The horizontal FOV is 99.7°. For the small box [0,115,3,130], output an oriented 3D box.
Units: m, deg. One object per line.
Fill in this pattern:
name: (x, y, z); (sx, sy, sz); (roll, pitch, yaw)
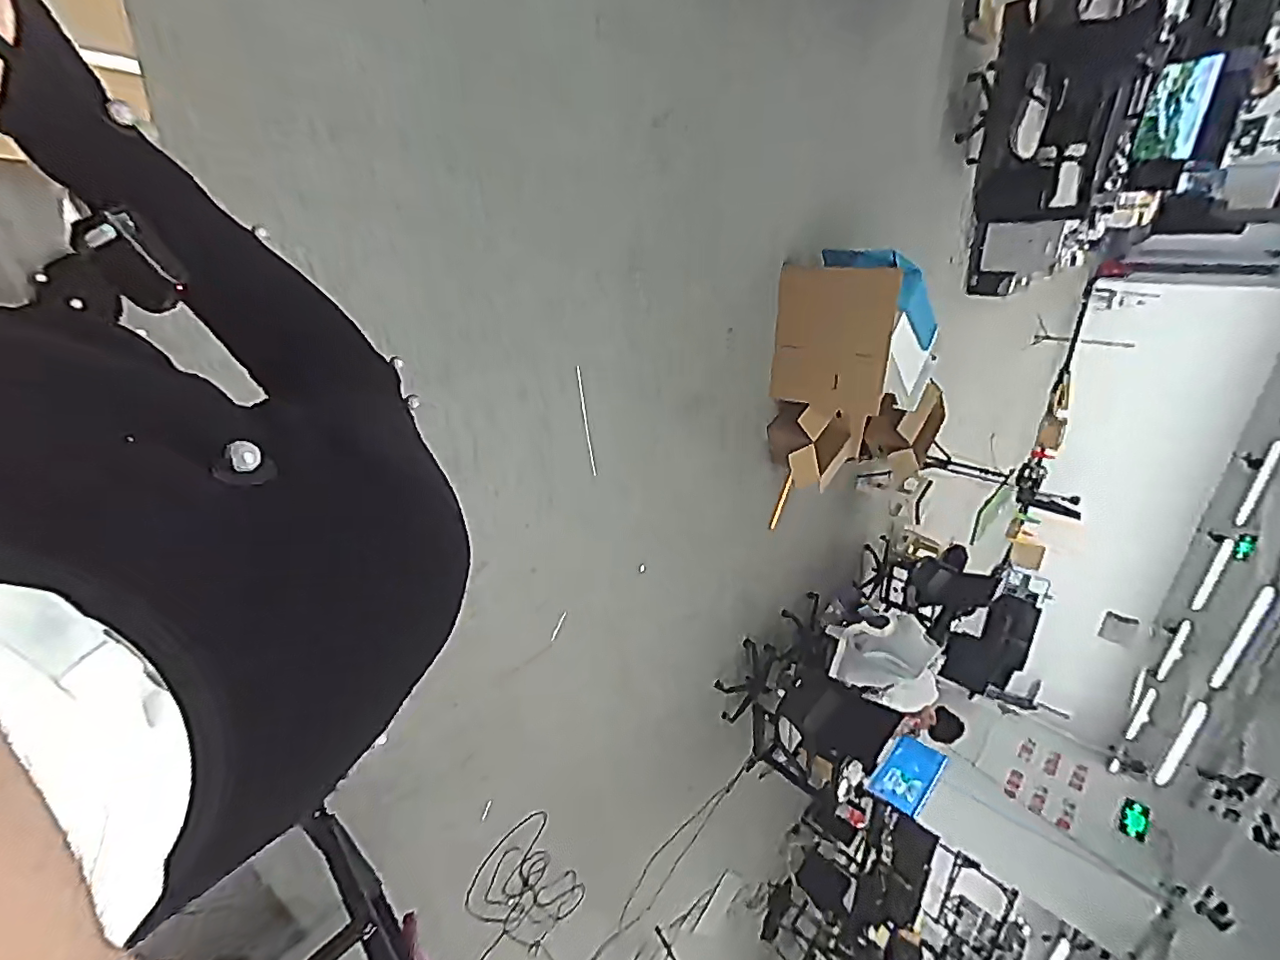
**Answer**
small box: (-0.949, -0.547, 0.672); (0.168, 0.176, 0.179); (-23, 124, -40)
